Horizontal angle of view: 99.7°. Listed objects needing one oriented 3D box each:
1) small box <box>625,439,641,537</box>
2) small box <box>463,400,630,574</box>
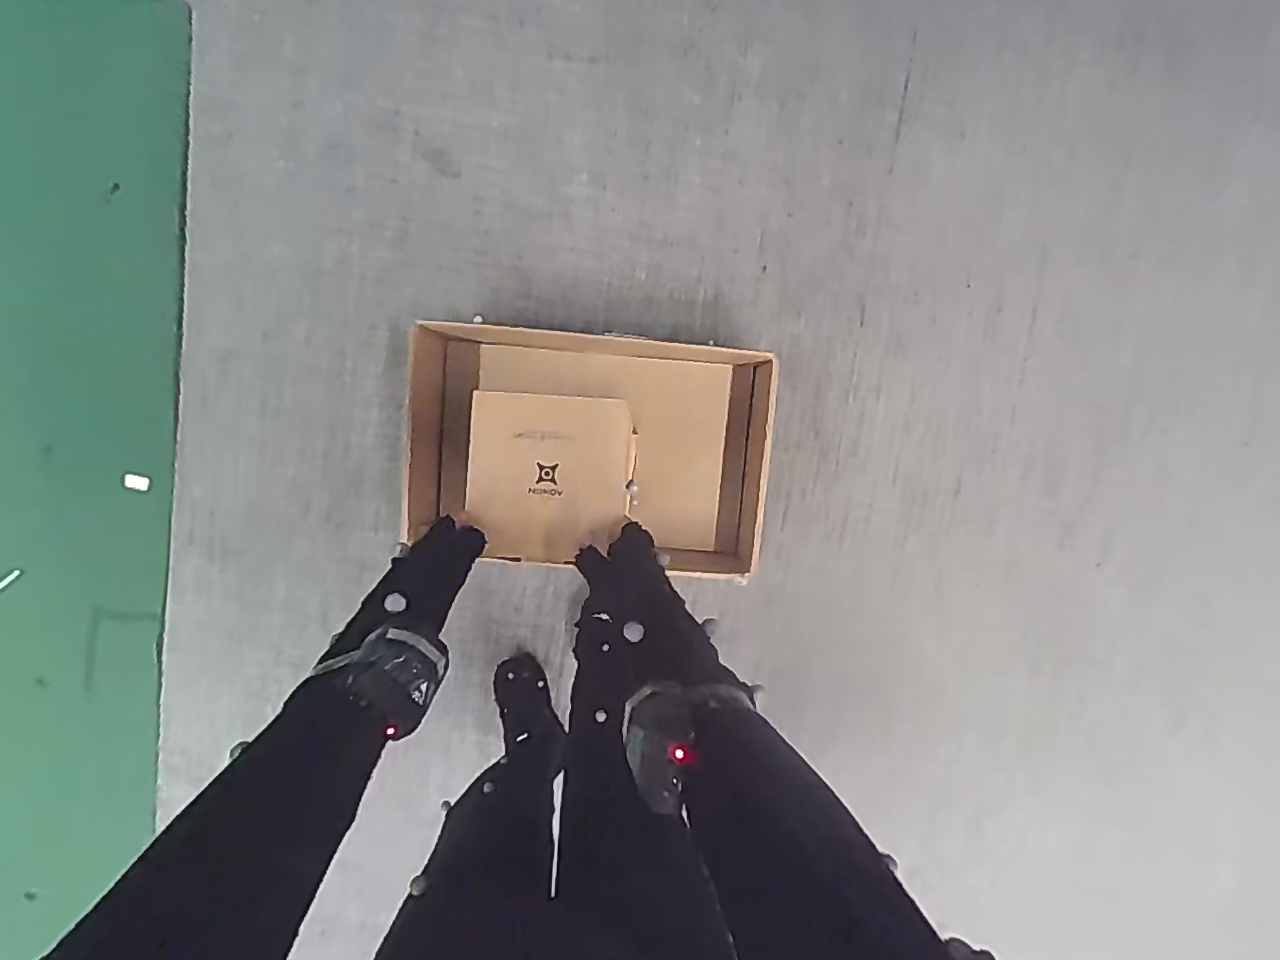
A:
[{"bbox_3d":[-0.093,0.002,0.981,0.179,0.176,0.168,4,96,-1],"label":"small box"},{"bbox_3d":[-0.098,0.011,0.642,0.168,0.176,0.179,3,86,-1],"label":"small box"}]
